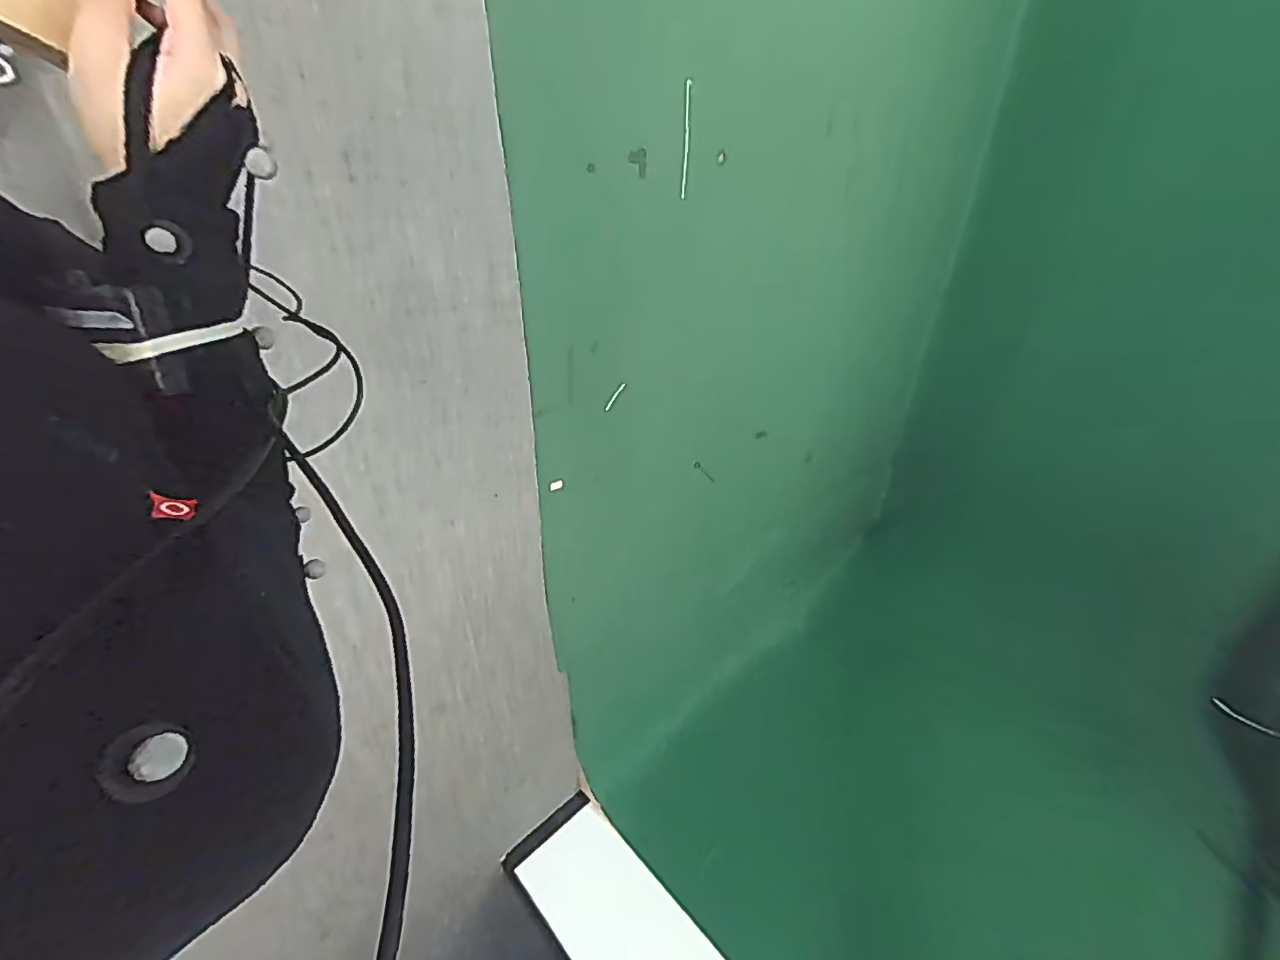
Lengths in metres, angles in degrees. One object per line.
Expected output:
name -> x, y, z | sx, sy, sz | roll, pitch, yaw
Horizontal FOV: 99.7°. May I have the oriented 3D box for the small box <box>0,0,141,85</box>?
small box -> -0.328, -0.317, 0.237 | 0.168, 0.176, 0.179 | 12, 106, -53
